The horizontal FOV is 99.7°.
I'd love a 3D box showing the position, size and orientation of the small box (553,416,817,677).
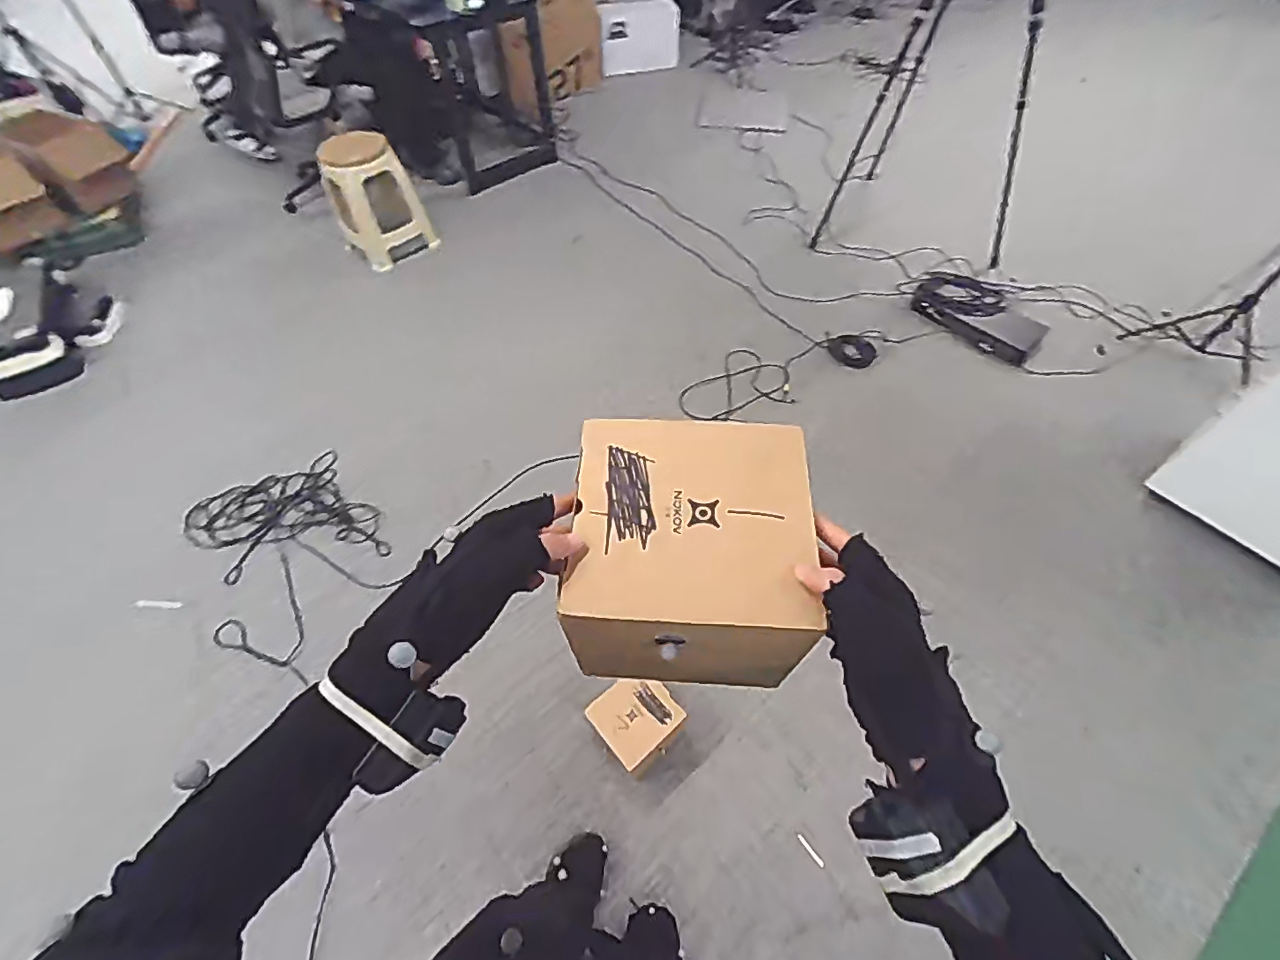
[{"bbox_3d":[0.035,0.063,0.461,0.179,0.176,0.168,2,57,2],"label":"small box"}]
